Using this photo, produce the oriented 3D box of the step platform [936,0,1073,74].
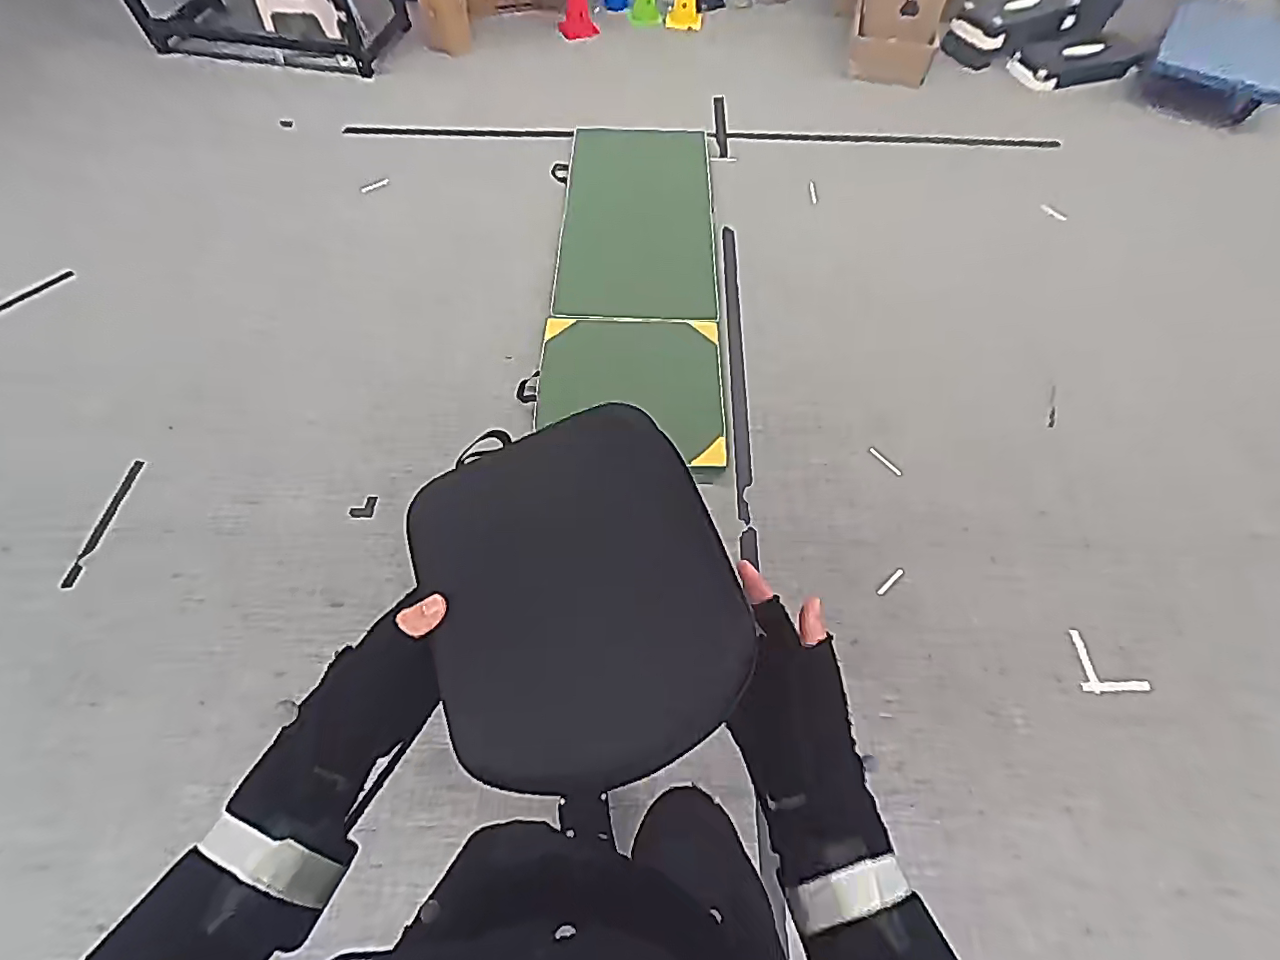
[{"bbox_3d":[1.974,-2.433,2.924,0.684,0.204,0.286,-25,65,-14],"label":"step platform"}]
